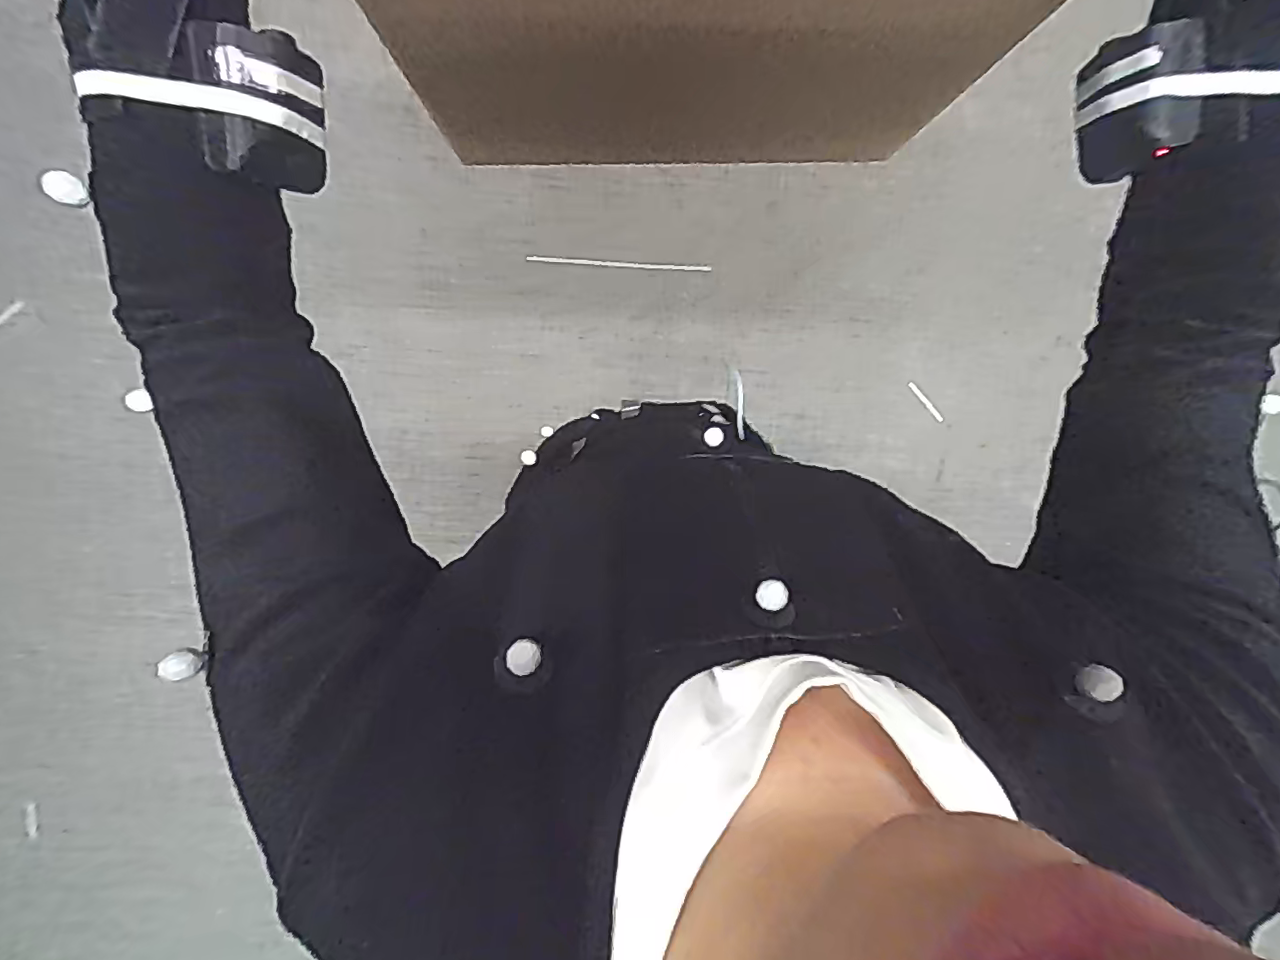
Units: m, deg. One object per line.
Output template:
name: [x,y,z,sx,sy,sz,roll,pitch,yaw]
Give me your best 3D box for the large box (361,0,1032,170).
large box: [0.030,-0.428,0.342,0.408,0.320,0.320,-3,99,-3]
